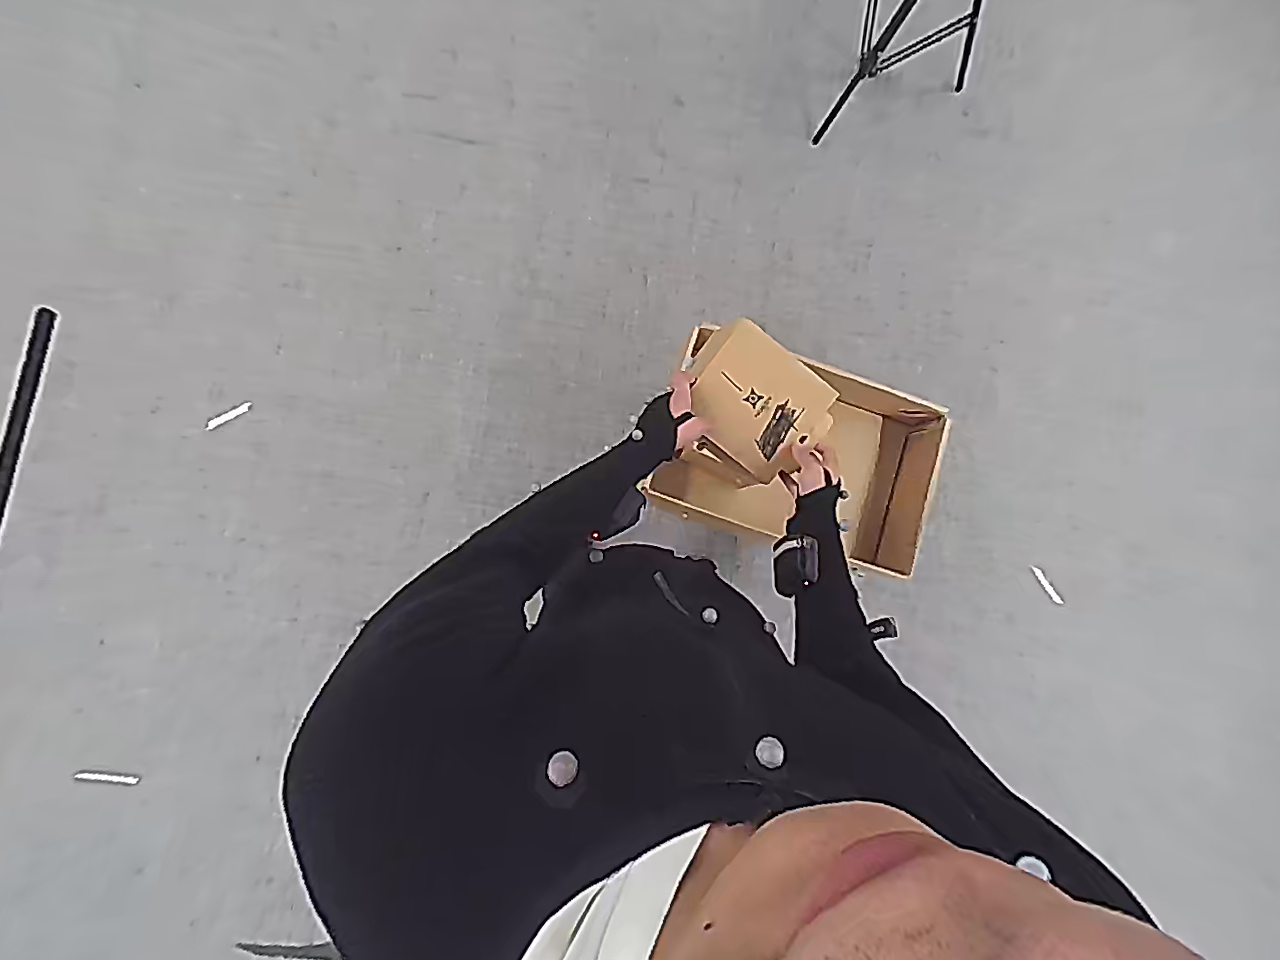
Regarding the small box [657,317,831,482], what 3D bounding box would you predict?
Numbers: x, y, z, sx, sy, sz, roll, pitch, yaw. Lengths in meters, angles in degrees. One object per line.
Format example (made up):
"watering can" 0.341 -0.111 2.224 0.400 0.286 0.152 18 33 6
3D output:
"small box" 0.148 -0.123 0.833 0.179 0.176 0.168 37 92 -10
